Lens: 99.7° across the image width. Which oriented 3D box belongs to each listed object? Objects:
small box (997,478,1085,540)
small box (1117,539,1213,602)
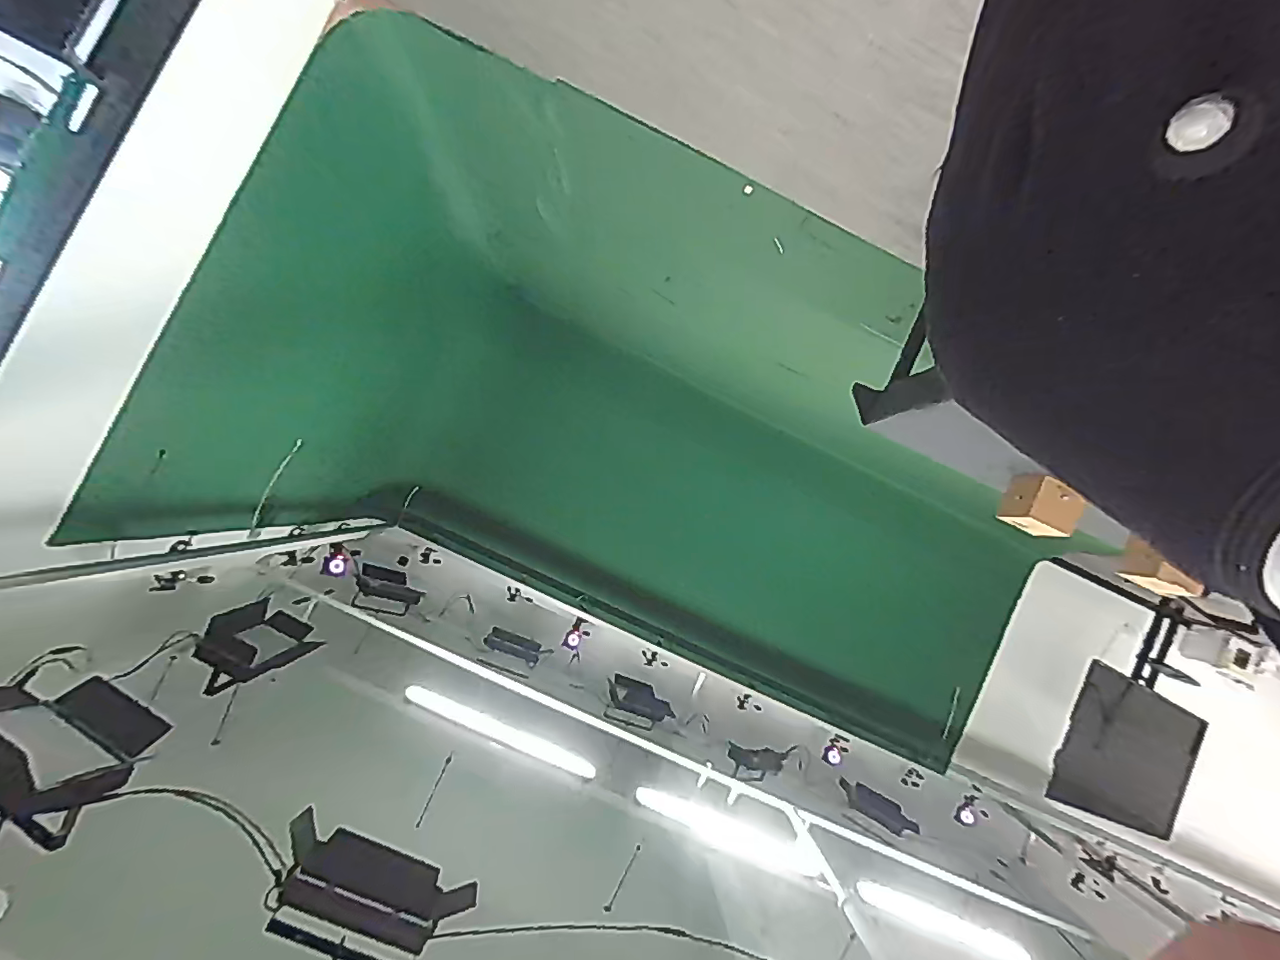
[{"bbox_3d":[1.457,0.103,1.962,0.168,0.176,0.179,26,176,0],"label":"small box"},{"bbox_3d":[1.907,0.321,1.959,0.168,0.176,0.179,26,176,2],"label":"small box"}]
